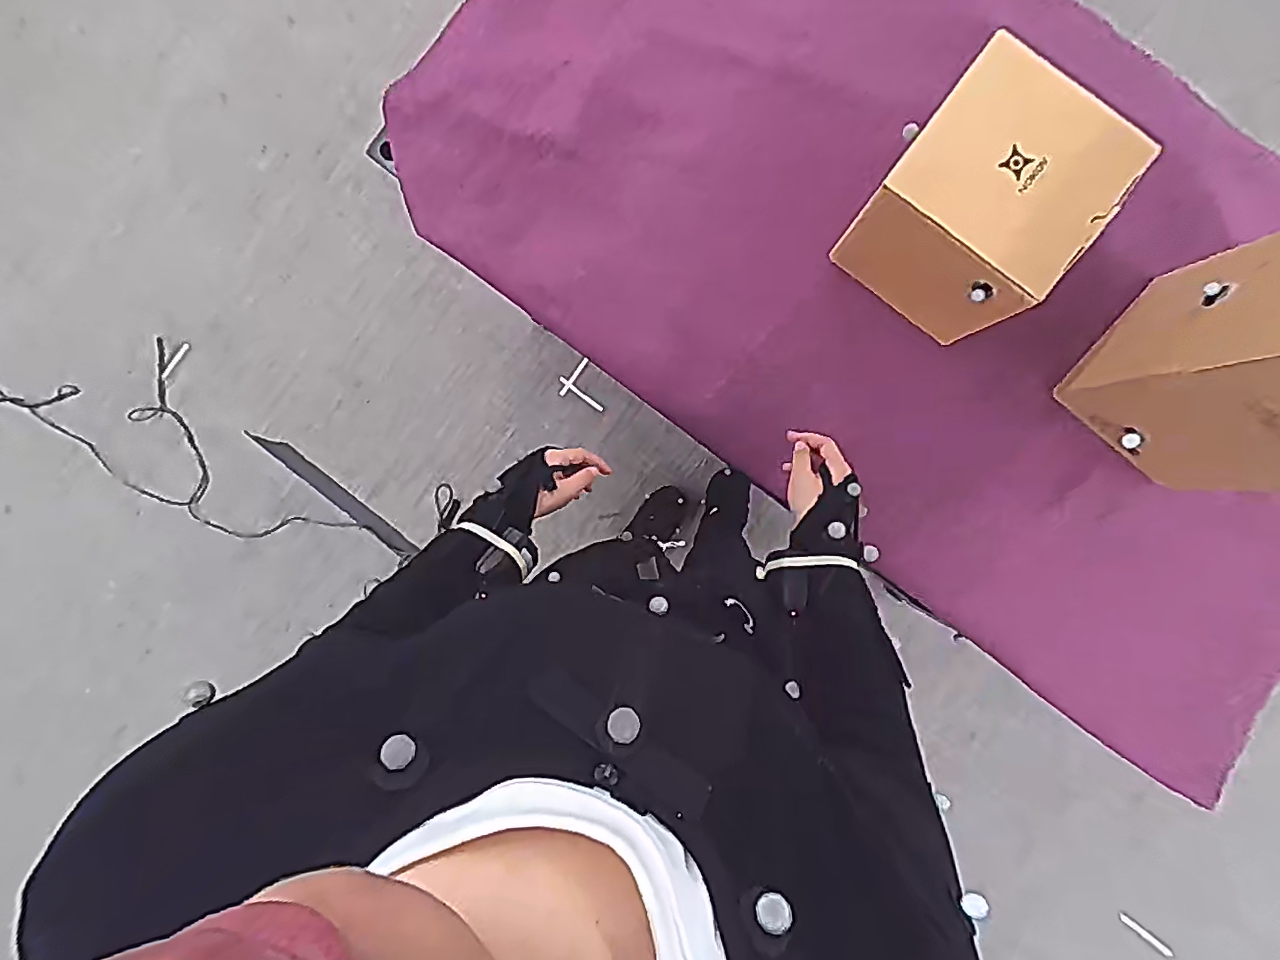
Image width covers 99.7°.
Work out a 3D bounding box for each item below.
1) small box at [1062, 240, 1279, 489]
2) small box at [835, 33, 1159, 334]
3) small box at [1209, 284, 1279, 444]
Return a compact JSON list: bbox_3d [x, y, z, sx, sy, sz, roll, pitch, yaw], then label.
[{"bbox_3d":[0.587,-0.110,0.538,0.168,0.176,0.179,41,93,1],"label":"small box"},{"bbox_3d":[0.332,-0.273,0.547,0.179,0.176,0.168,37,92,1],"label":"small box"},{"bbox_3d":[0.582,-0.104,0.373,0.168,0.176,0.179,41,93,2],"label":"small box"}]
